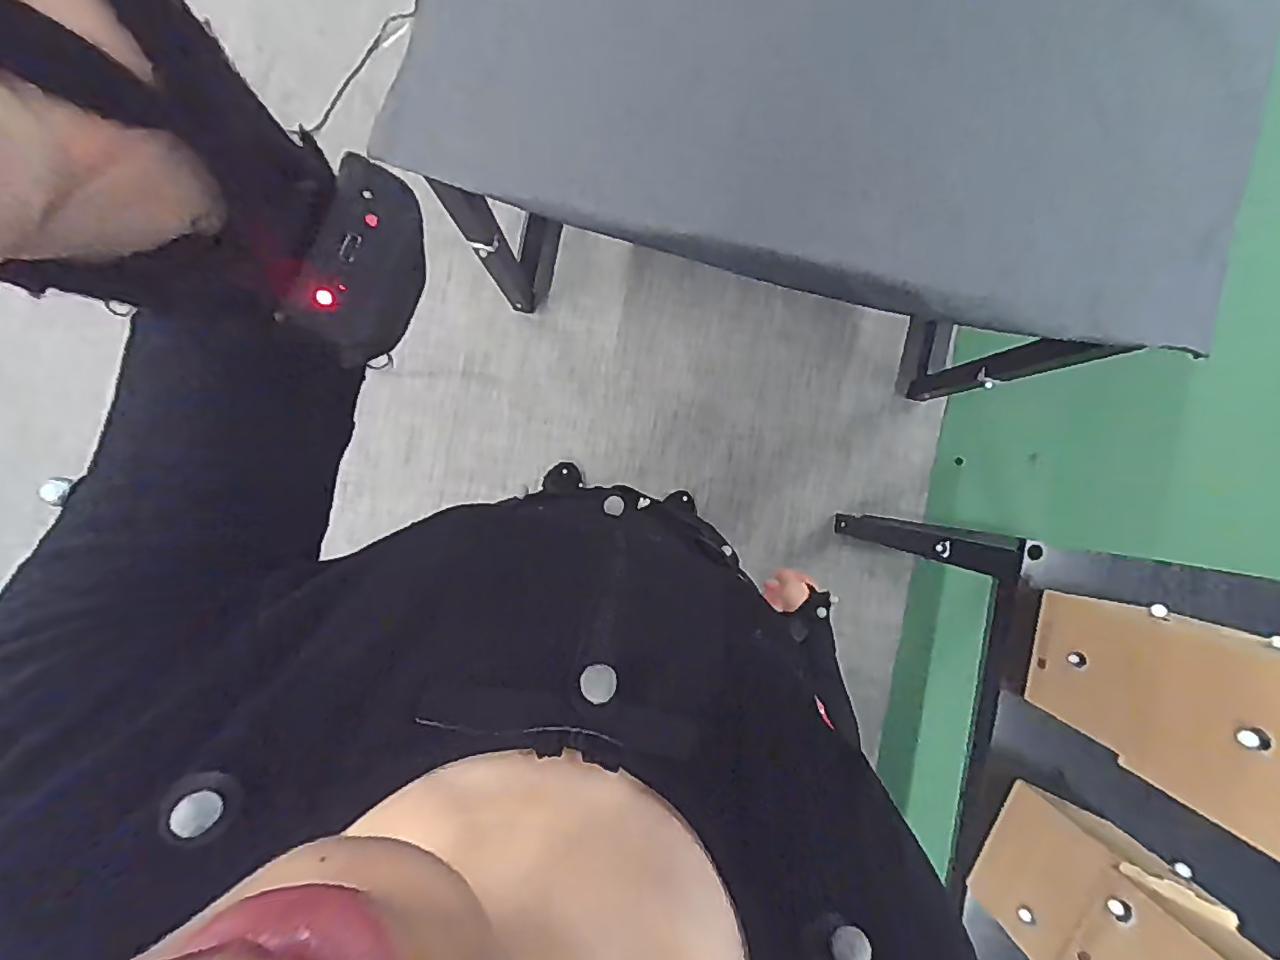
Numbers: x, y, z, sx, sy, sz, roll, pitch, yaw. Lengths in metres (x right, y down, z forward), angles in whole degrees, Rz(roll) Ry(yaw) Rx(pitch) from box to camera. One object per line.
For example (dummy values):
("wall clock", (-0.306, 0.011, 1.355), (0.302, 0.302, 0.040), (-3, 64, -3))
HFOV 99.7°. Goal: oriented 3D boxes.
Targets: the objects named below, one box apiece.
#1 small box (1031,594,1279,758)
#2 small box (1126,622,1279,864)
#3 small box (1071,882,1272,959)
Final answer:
("small box", (0.661, 0.255, 0.705), (0.179, 0.176, 0.168), (10, 92, -2))
("small box", (0.647, 0.261, 0.542), (0.168, 0.176, 0.179), (10, 91, -1))
("small box", (0.586, 0.561, 0.545), (0.179, 0.176, 0.168), (28, 91, -2))
